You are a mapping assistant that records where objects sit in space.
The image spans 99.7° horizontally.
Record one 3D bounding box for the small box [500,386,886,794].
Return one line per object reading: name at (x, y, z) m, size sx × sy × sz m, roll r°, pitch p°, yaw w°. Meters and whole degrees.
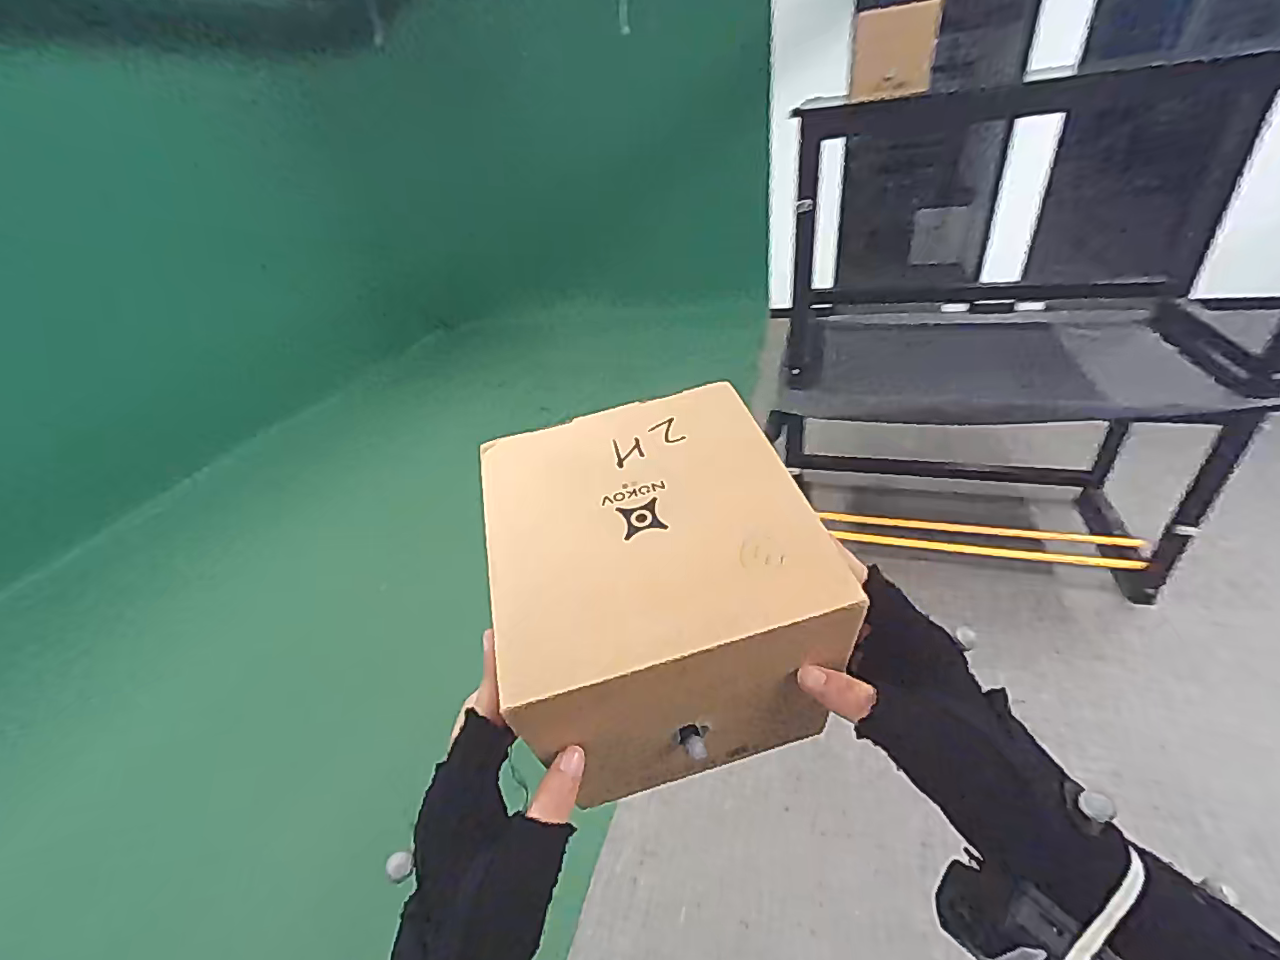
small box at (0.020, 0.073, 0.340) m, size 0.168 × 0.176 × 0.179 m, roll -14°, pitch 46°, yaw -5°
